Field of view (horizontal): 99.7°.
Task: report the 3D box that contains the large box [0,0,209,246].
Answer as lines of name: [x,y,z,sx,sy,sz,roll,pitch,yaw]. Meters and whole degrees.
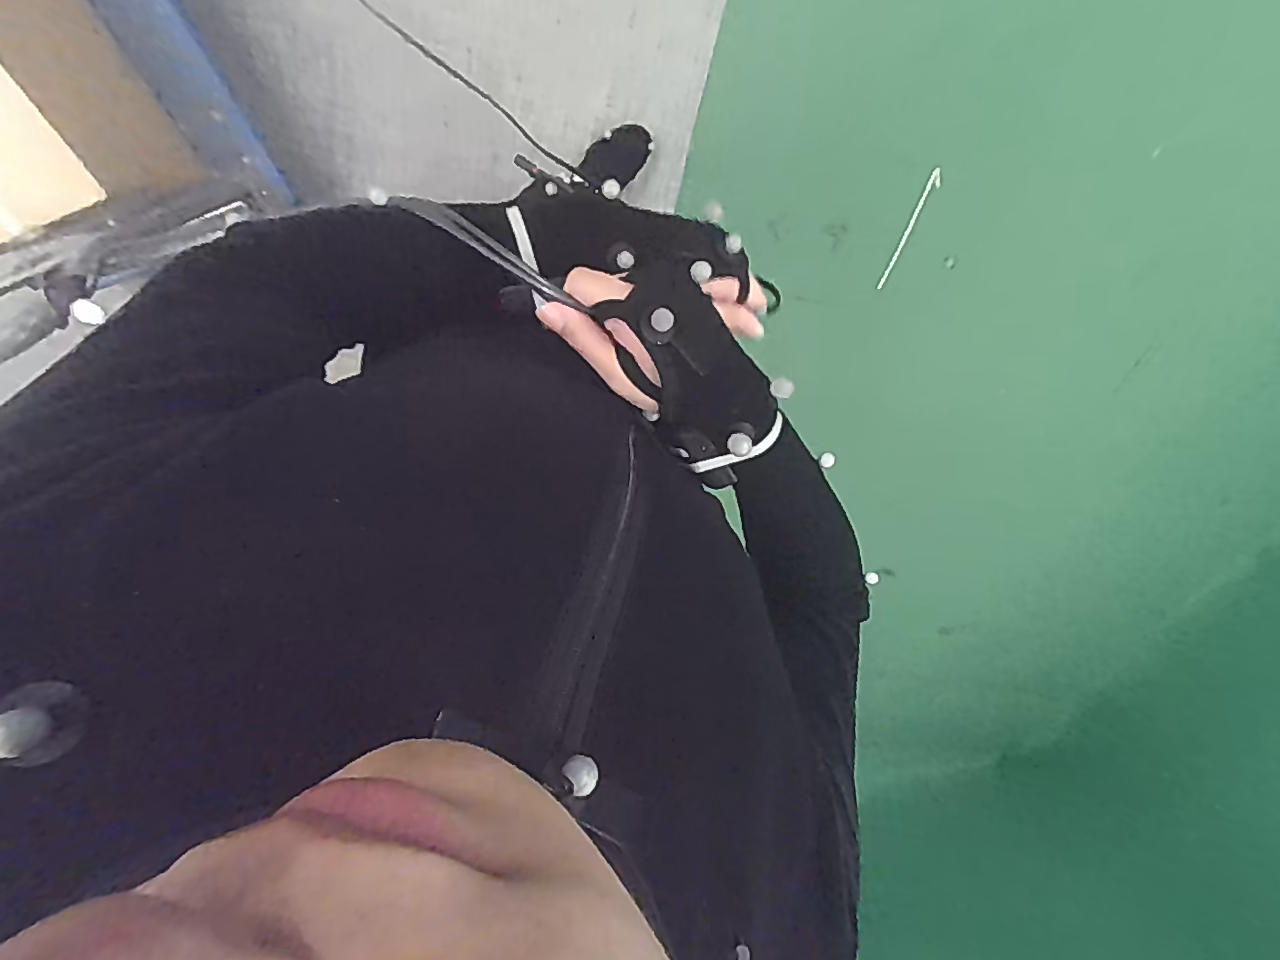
large box: [-1.032,-0.635,0.850,0.320,0.320,0.408,-19,124,5]
